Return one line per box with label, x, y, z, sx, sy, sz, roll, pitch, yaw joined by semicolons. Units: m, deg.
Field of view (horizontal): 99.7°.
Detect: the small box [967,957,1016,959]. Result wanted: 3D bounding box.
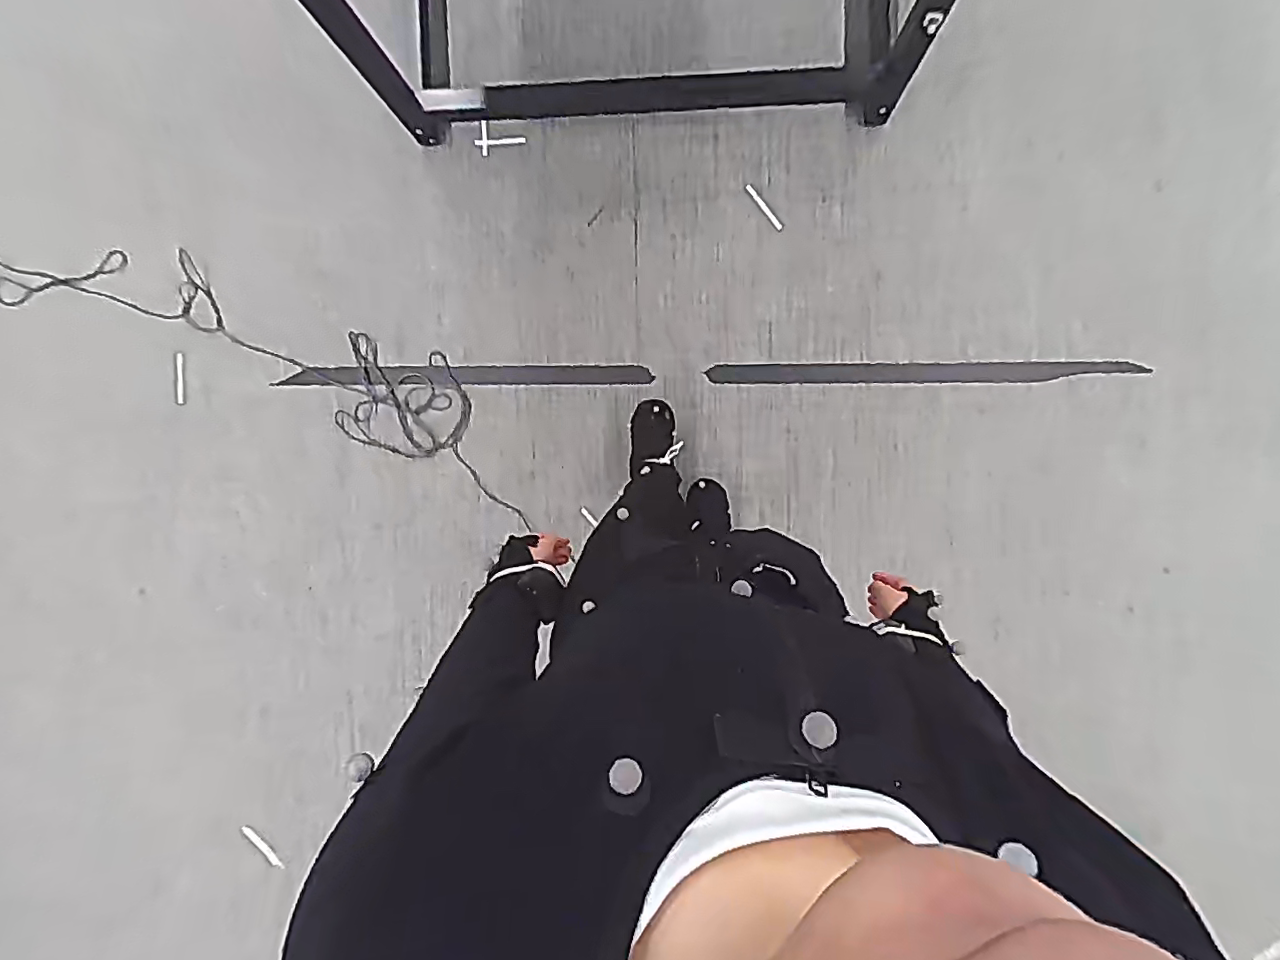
small box;0.787;1.137;1.105;0.168;0.176;0.179;-2;91;4
